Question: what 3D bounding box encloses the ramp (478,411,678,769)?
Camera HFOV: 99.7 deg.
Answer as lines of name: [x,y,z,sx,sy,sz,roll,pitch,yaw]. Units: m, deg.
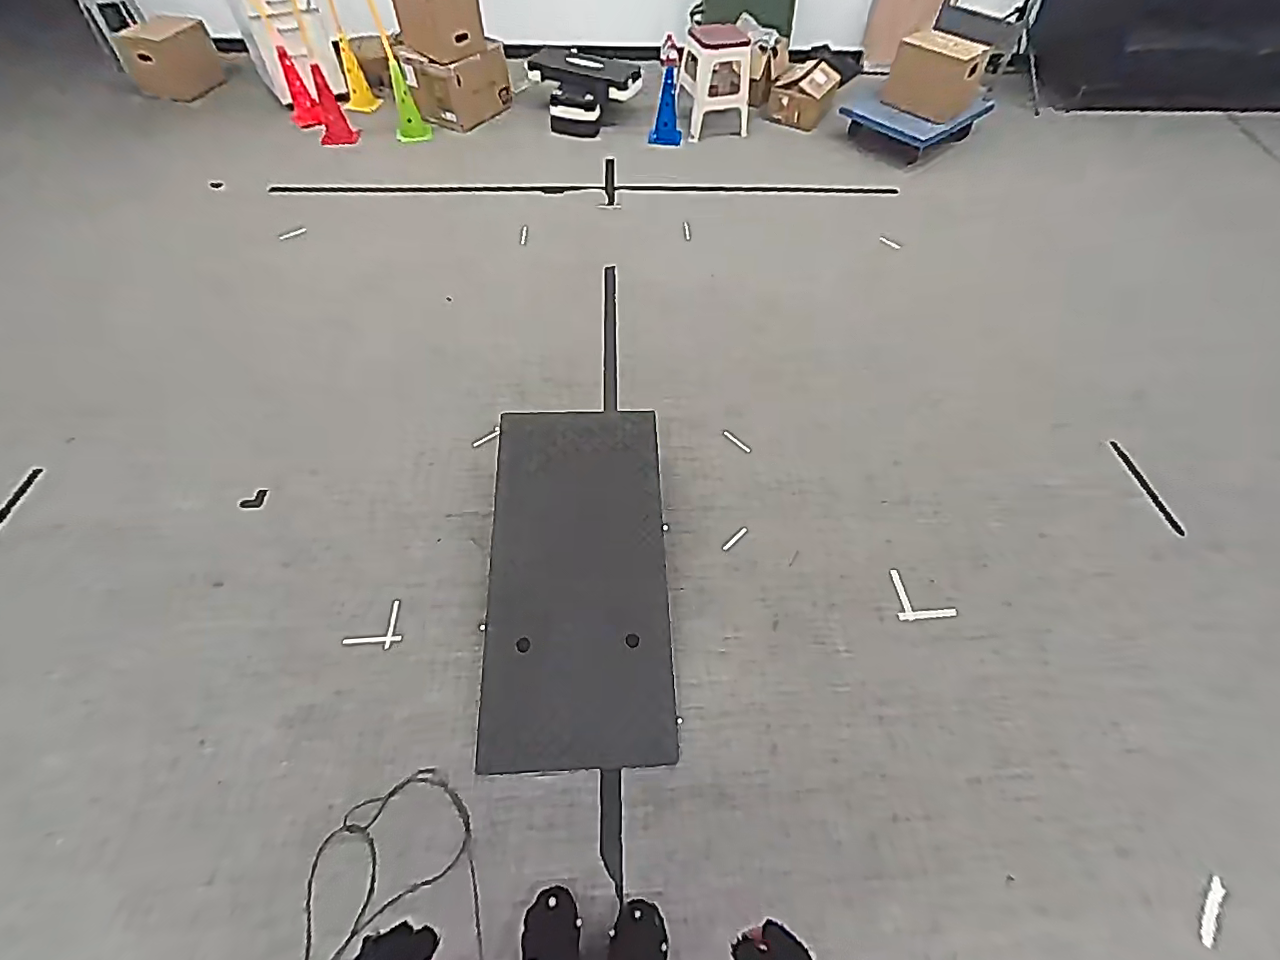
ramp: [-0.167,0.236,1.517,0.509,0.206,0.991,-2,55,-5]
